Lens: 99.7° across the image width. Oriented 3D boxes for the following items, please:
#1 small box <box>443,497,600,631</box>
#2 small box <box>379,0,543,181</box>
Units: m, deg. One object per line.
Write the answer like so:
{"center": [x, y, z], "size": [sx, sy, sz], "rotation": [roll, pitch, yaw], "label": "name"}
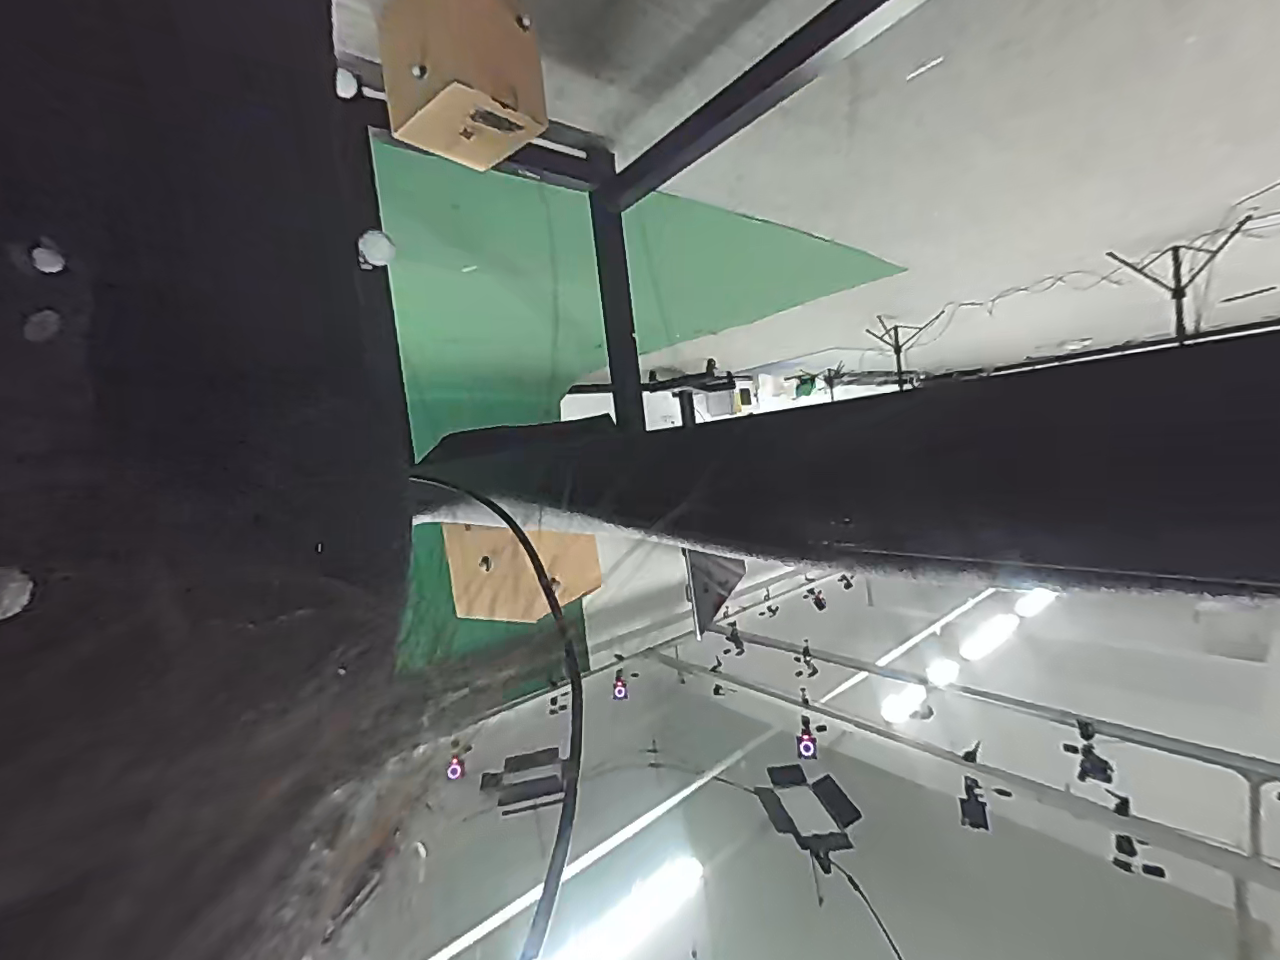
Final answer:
{"center": [-0.189, 0.128, 0.868], "size": [0.168, 0.176, 0.179], "rotation": [-6, -174, 30], "label": "small box"}
{"center": [-0.273, -0.596, 0.819], "size": [0.179, 0.176, 0.168], "rotation": [-3, -176, 38], "label": "small box"}
